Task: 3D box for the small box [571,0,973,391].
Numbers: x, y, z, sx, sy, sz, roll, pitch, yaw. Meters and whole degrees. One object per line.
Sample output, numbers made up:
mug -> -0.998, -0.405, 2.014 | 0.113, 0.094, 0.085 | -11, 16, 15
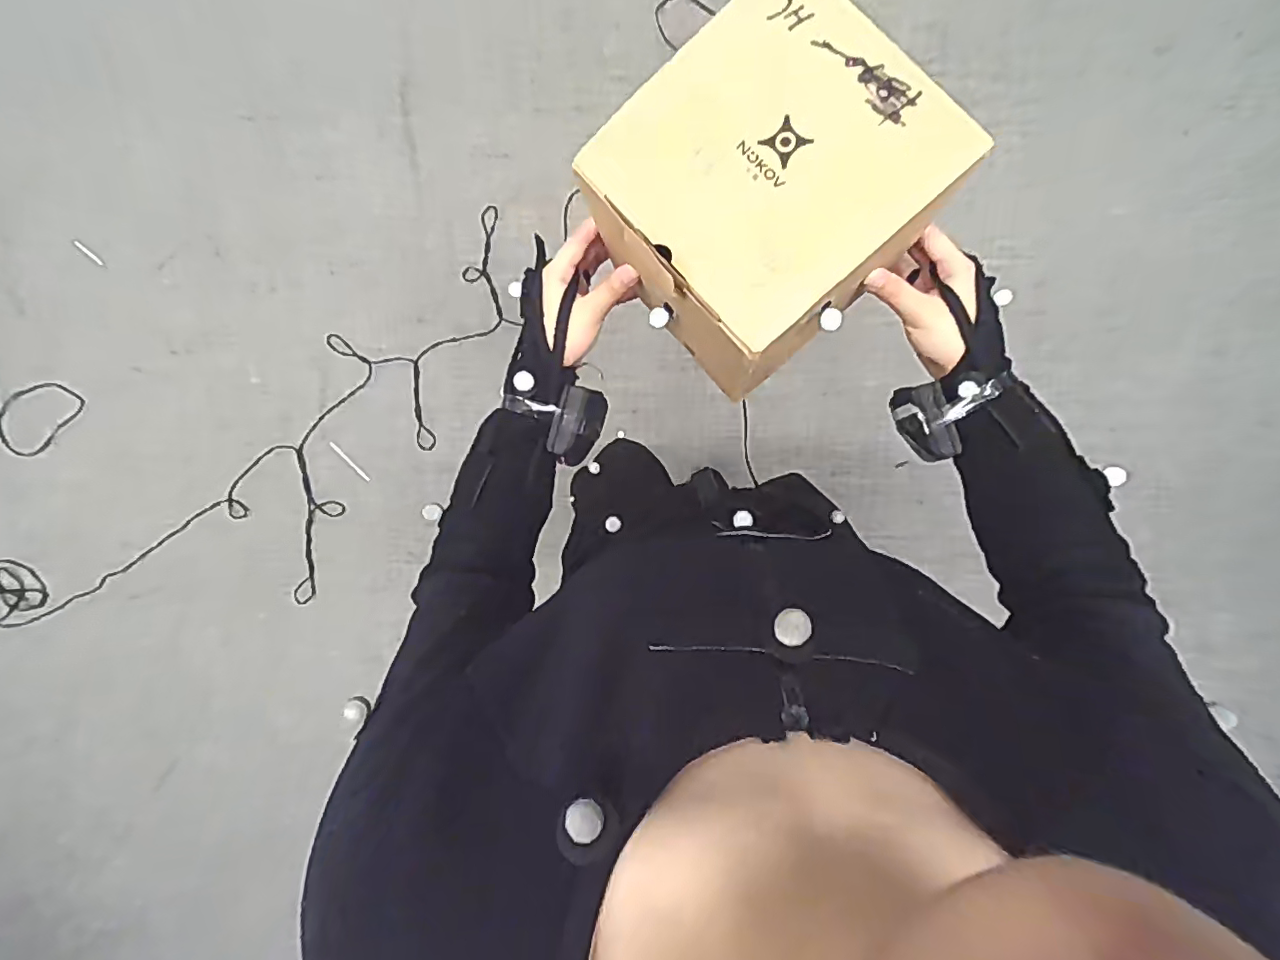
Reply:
small box -> 0.083, -0.187, 0.395 | 0.179, 0.176, 0.168 | -41, 84, 5
